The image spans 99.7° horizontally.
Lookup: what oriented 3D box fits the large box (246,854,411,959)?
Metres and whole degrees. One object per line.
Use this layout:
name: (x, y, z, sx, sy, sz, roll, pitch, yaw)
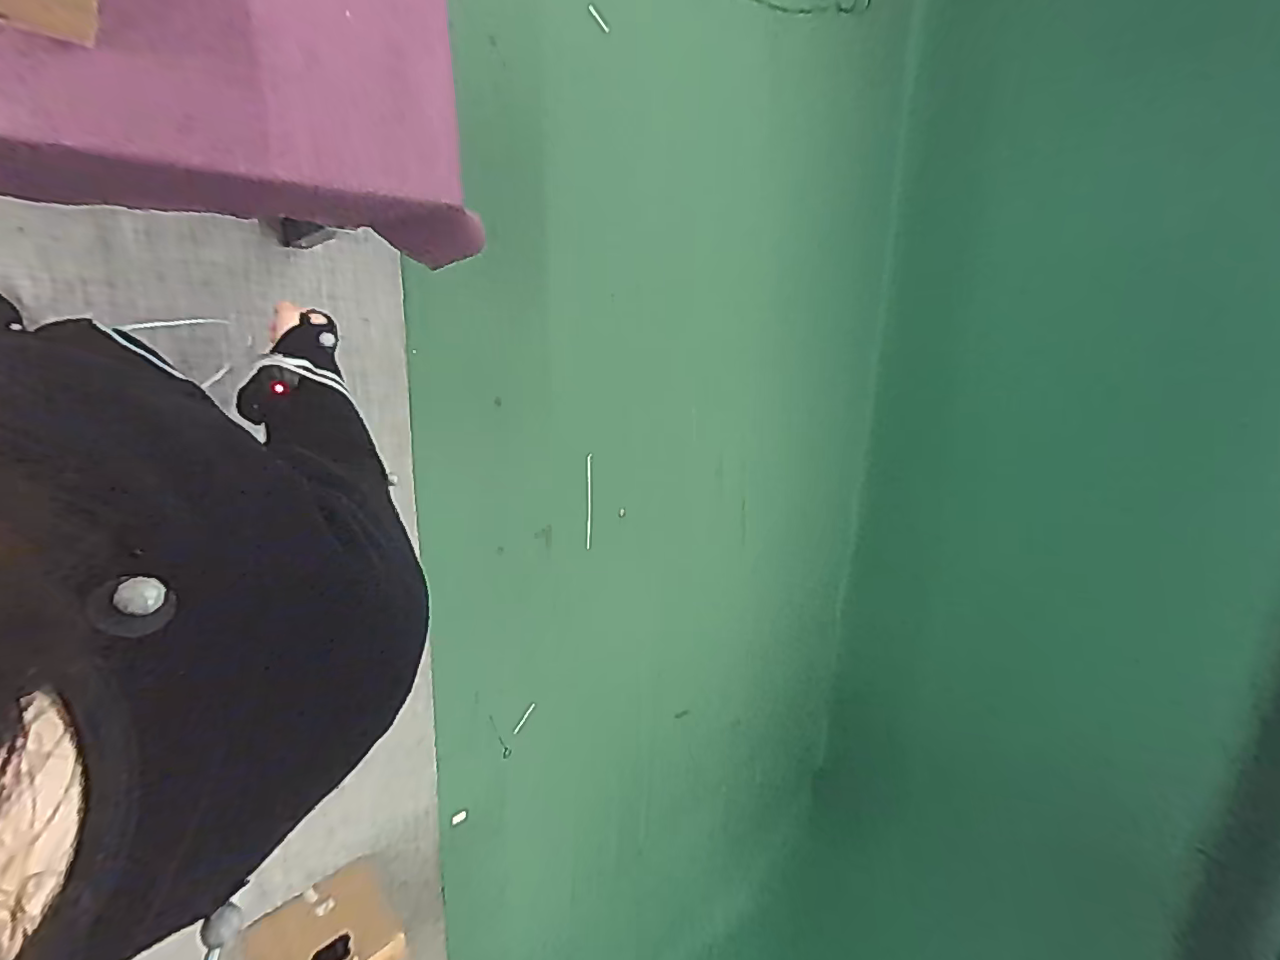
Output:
large box: (-0.859, 1.395, 1.522, 0.320, 0.320, 0.408, -14, 112, -44)
